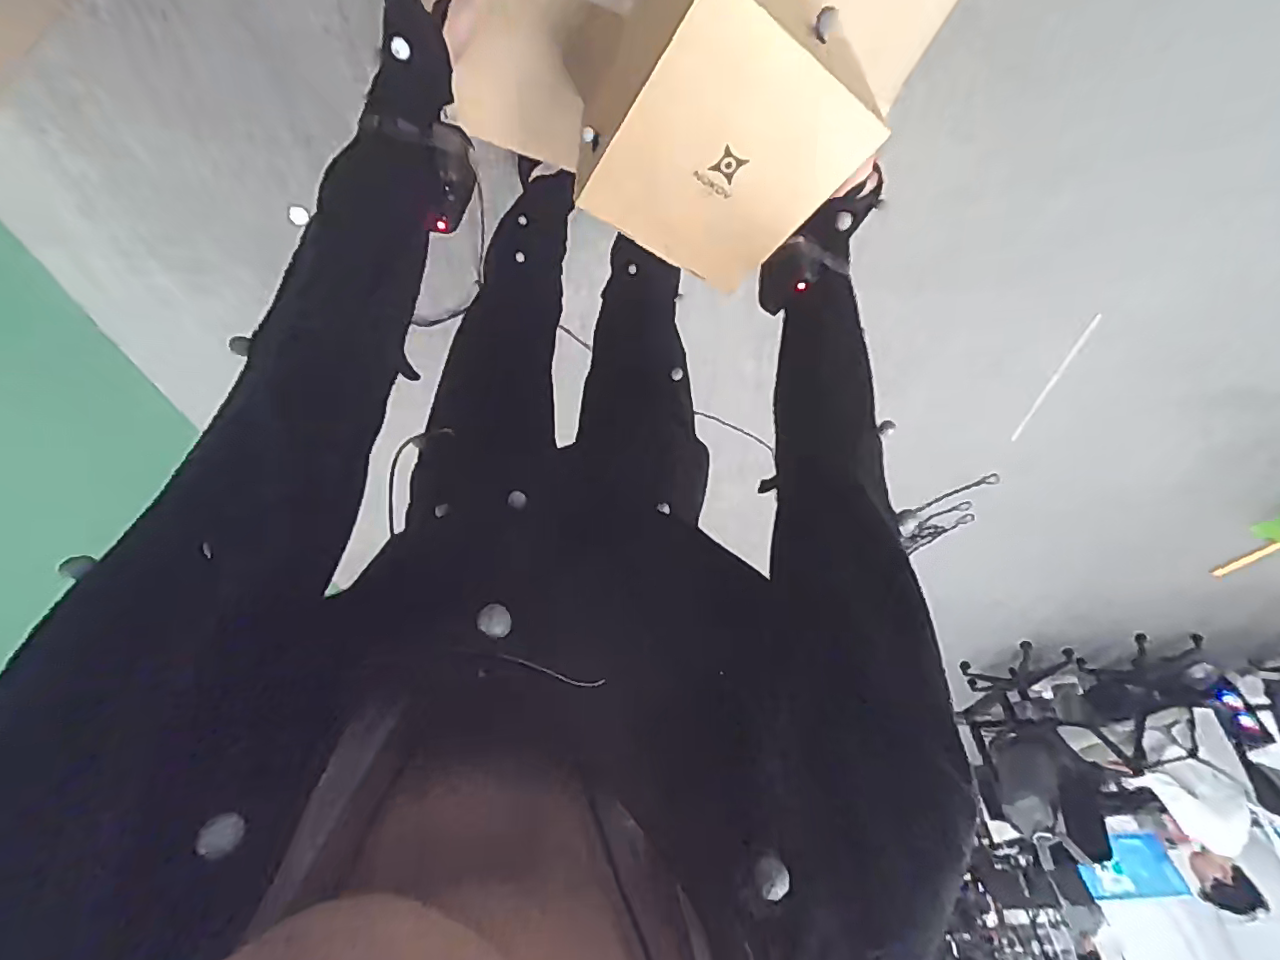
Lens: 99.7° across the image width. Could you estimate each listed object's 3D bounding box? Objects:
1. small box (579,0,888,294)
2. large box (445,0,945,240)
[{"bbox_3d":[0.062,-0.300,0.444,0.168,0.176,0.179,18,146,-28],"label":"small box"},{"bbox_3d":[0.044,-0.521,0.552,0.408,0.320,0.320,11,145,-16],"label":"large box"}]
